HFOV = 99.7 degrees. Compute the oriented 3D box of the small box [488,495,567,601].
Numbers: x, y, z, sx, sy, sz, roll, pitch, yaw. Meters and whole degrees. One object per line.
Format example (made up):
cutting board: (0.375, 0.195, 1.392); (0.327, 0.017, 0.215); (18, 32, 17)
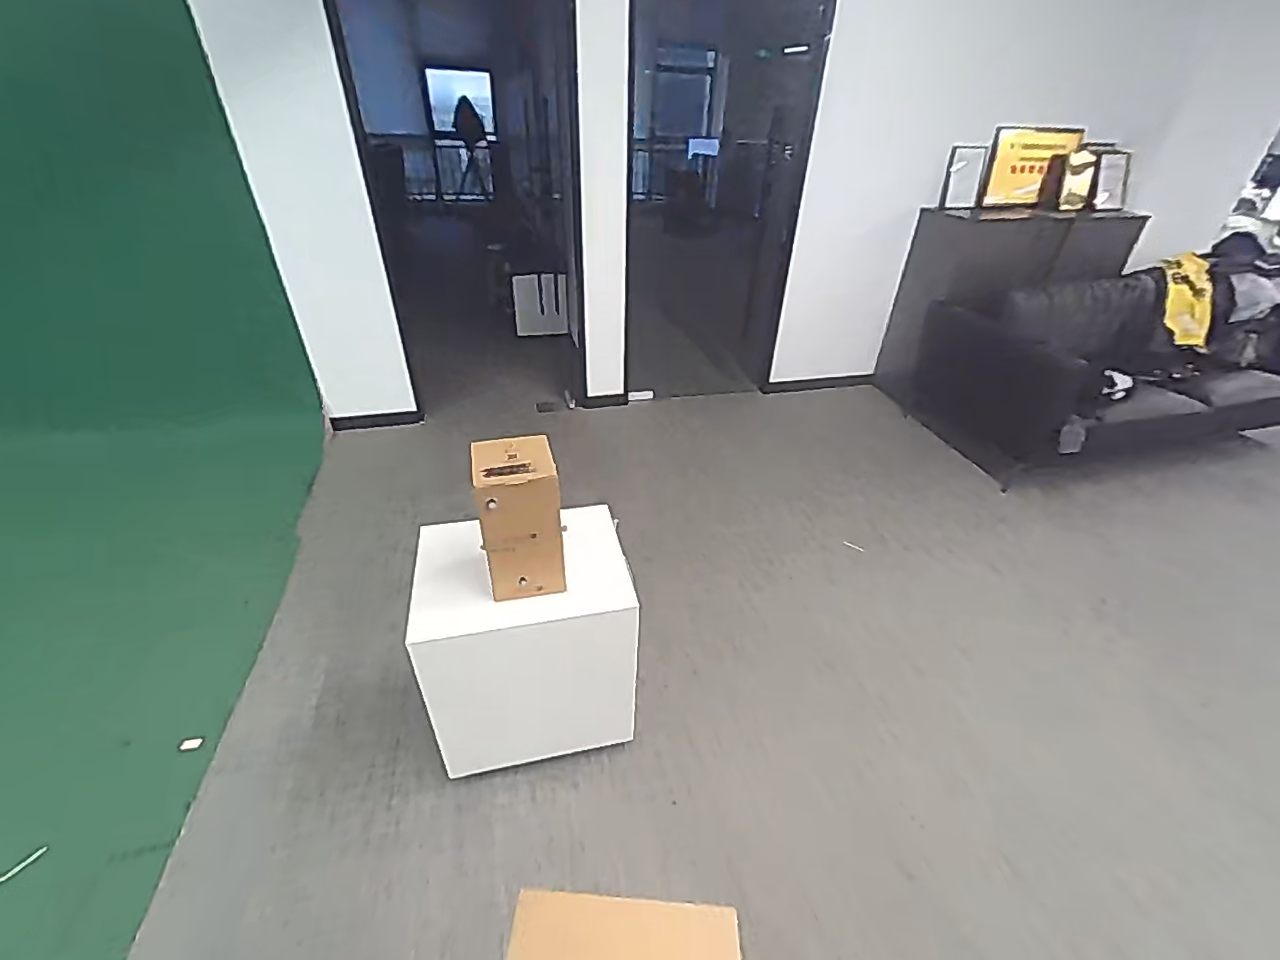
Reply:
small box: (-0.265, 0.157, 1.269); (0.168, 0.176, 0.179); (-6, 35, -12)
